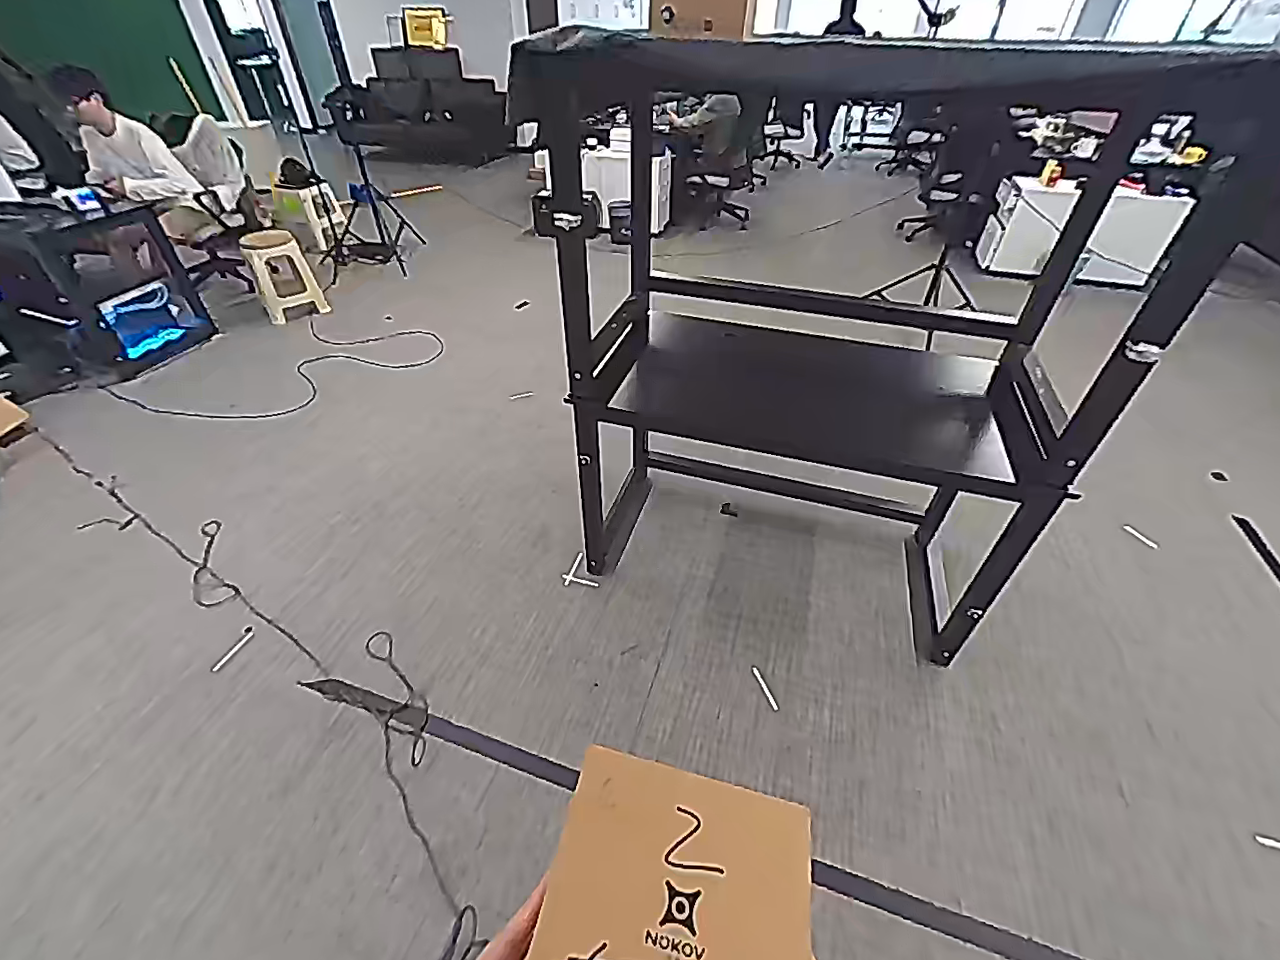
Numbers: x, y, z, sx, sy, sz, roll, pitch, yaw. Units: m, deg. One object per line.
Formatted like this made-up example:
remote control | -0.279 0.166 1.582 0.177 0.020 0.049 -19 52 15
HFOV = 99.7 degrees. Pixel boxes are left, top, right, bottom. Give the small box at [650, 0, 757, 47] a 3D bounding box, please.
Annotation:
small box | 0.115 -0.853 0.927 0.168 0.176 0.179 11 40 10
